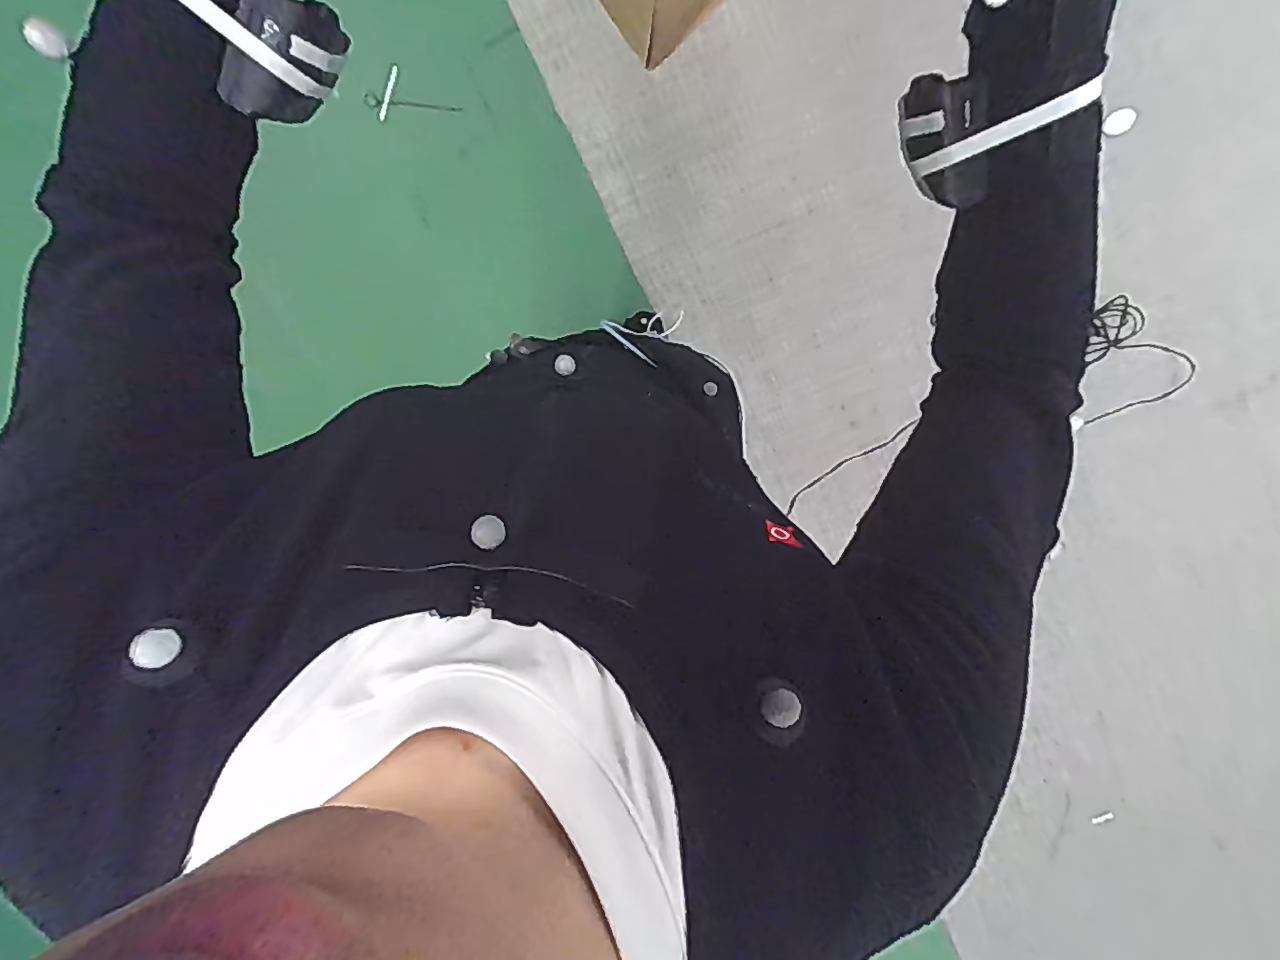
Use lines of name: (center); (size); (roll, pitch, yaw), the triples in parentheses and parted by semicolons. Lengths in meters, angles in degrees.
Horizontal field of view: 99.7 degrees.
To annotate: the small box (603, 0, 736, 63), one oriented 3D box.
small box: (0.021, -0.379, 0.281); (0.168, 0.176, 0.179); (-38, 107, 11)
